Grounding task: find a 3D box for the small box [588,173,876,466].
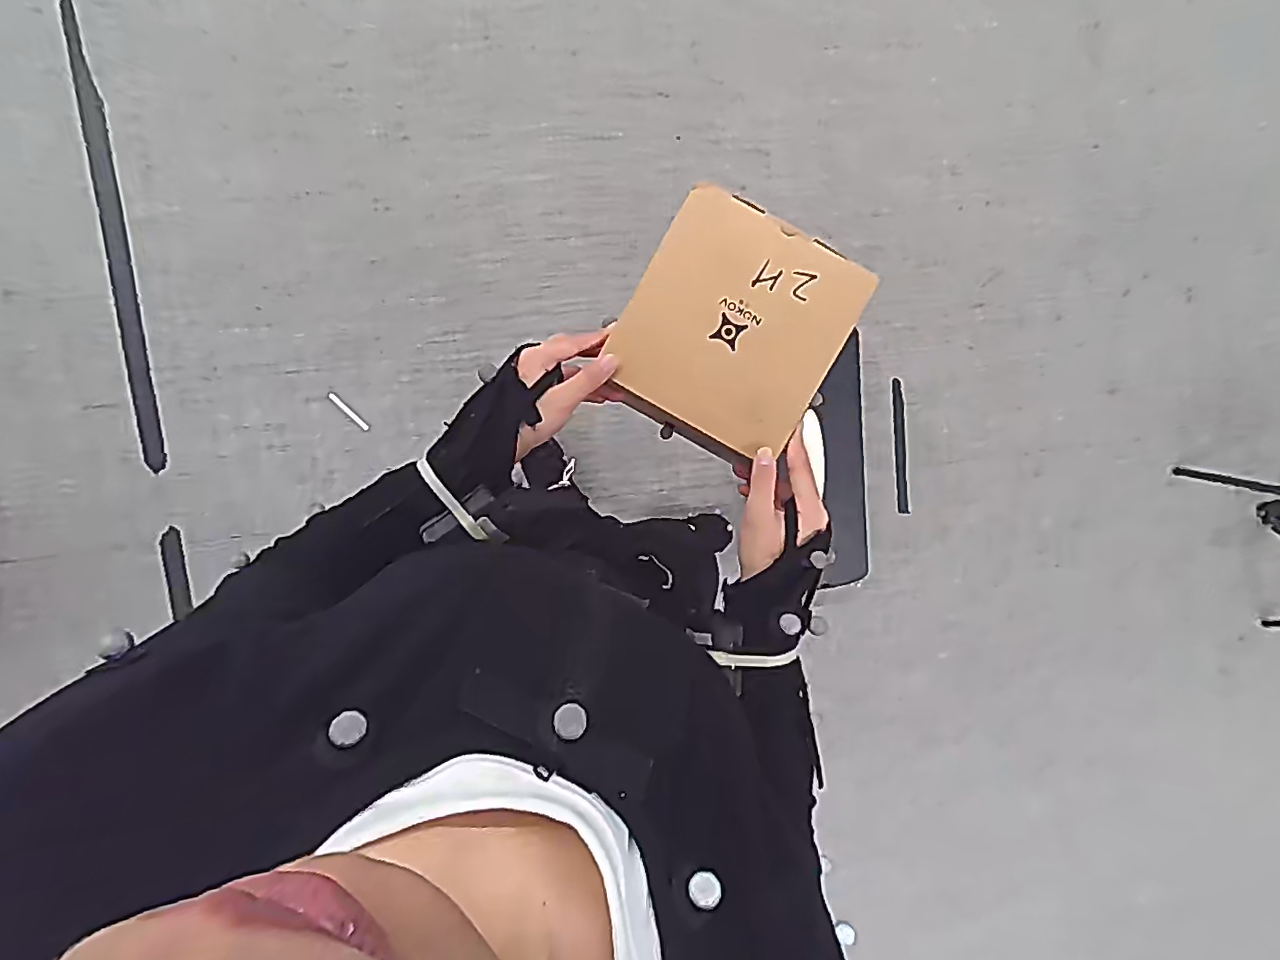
[{"bbox_3d":[0.074,-0.125,0.498,0.168,0.176,0.179,30,92,1],"label":"small box"}]
